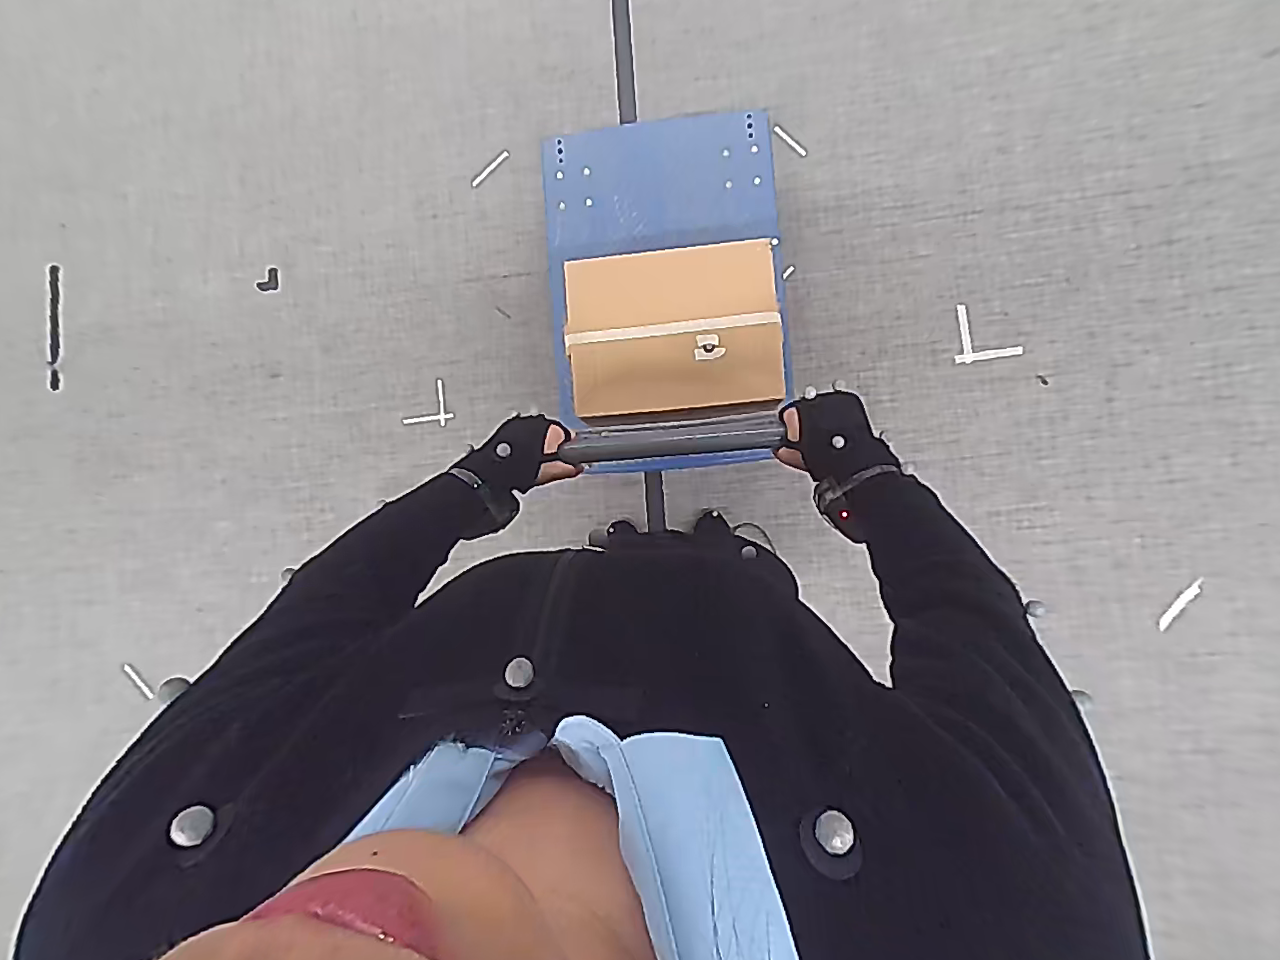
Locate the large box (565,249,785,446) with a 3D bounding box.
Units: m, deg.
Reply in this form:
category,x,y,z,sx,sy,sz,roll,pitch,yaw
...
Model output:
category,x,y,z,sx,sy,sz,roll,pitch,yaw
large box,0.072,-0.261,1.176,0.408,0.320,0.320,-5,88,4
